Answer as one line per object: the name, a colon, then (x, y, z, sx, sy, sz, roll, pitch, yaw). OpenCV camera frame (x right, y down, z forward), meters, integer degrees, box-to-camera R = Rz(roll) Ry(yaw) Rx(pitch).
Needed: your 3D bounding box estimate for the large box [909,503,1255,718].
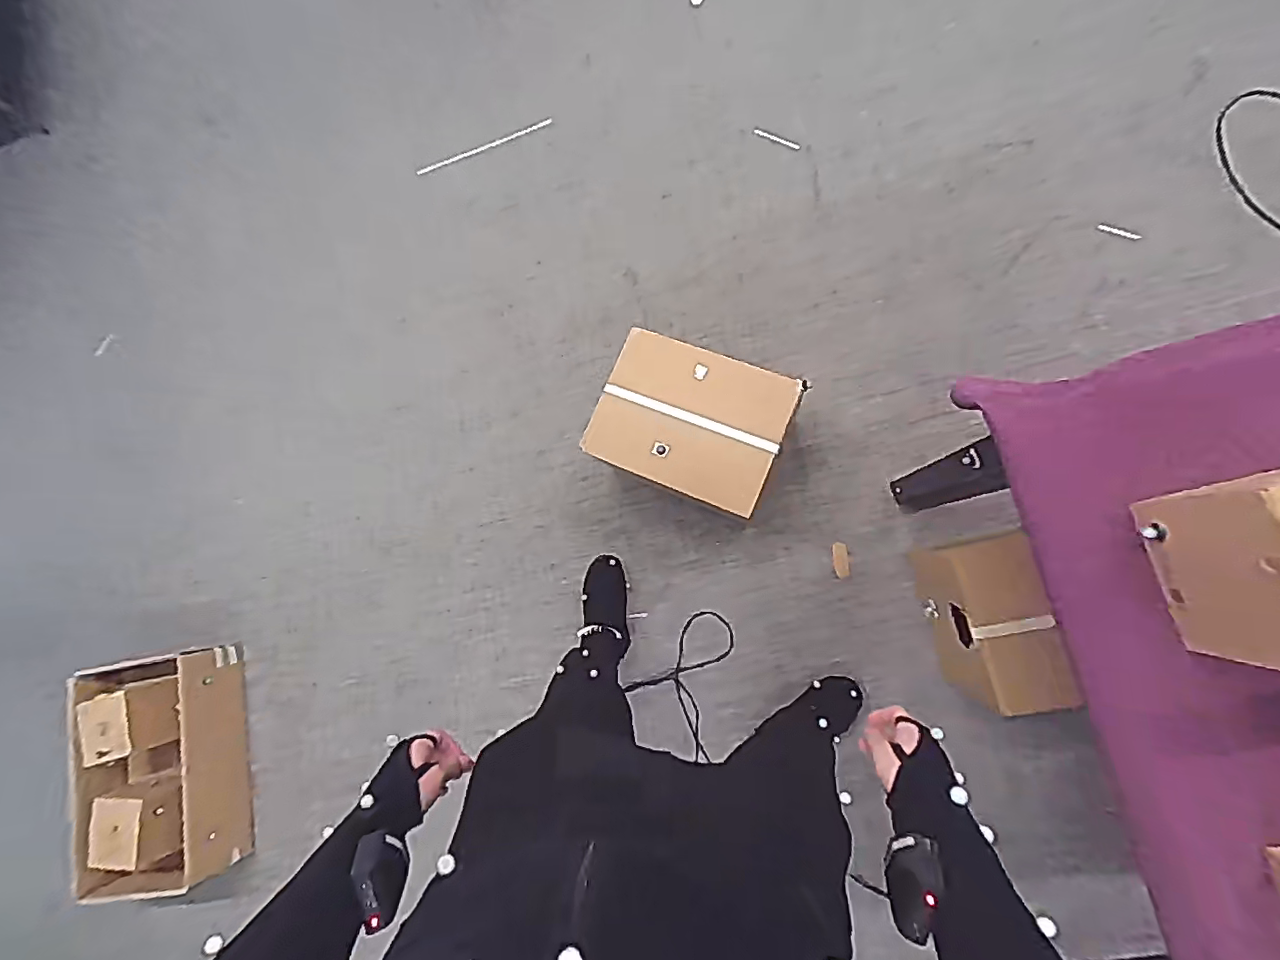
large box: (0.843, 0.253, 1.110, 0.408, 0.320, 0.320, -14, 81, 9)

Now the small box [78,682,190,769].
small box: (-1.448, 0.696, 1.554, 0.168, 0.176, 0.179, -17, 80, 9)

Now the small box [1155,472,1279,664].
small box: (0.635, 0.073, 0.493, 0.179, 0.176, 0.168, -15, 80, 8)
